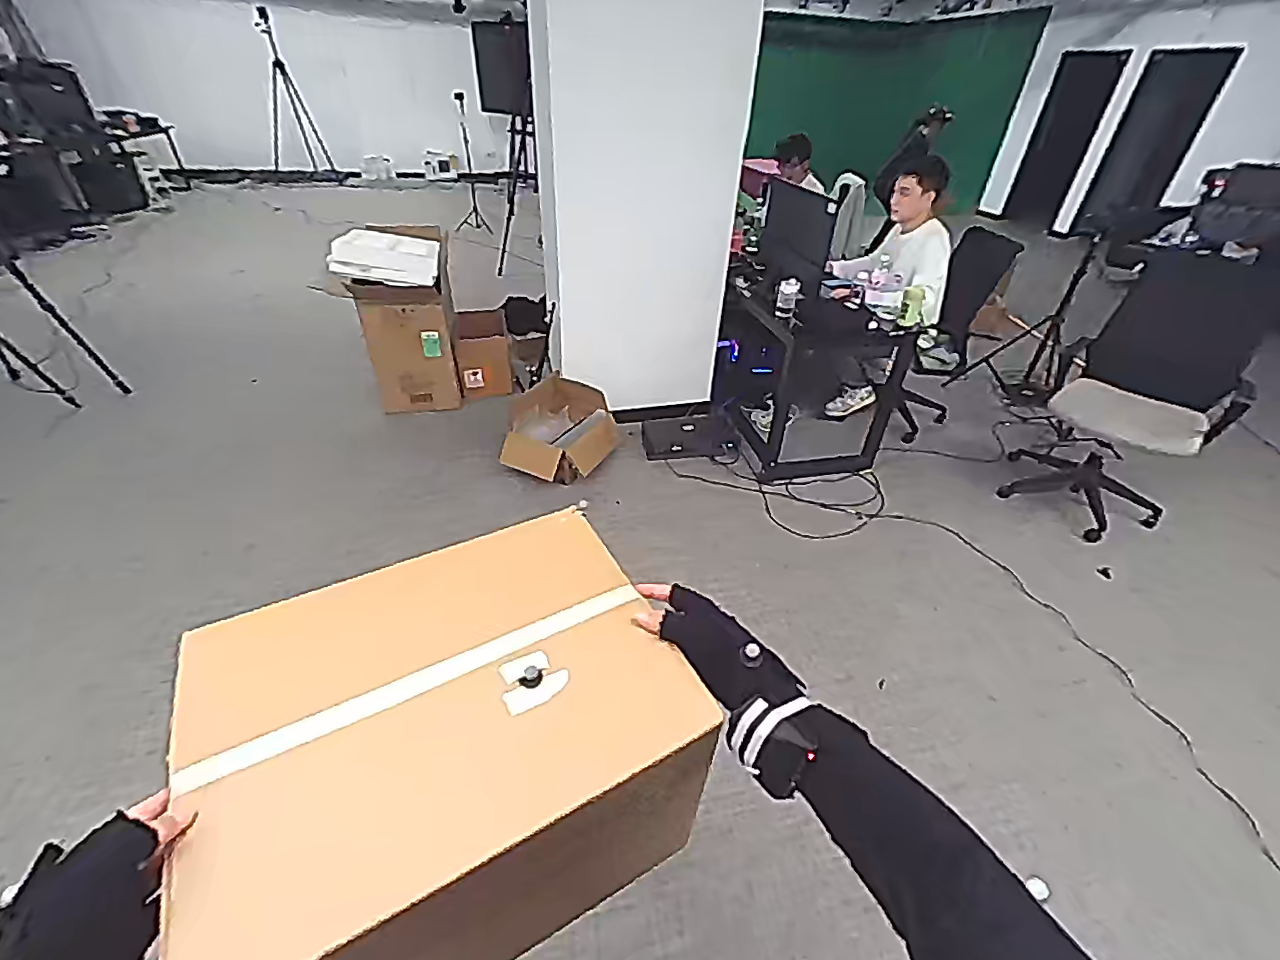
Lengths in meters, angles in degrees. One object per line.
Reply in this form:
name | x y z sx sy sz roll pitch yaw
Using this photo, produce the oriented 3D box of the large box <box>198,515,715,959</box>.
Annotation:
large box | -0.182 0.302 0.596 0.408 0.320 0.320 -19 44 -26
